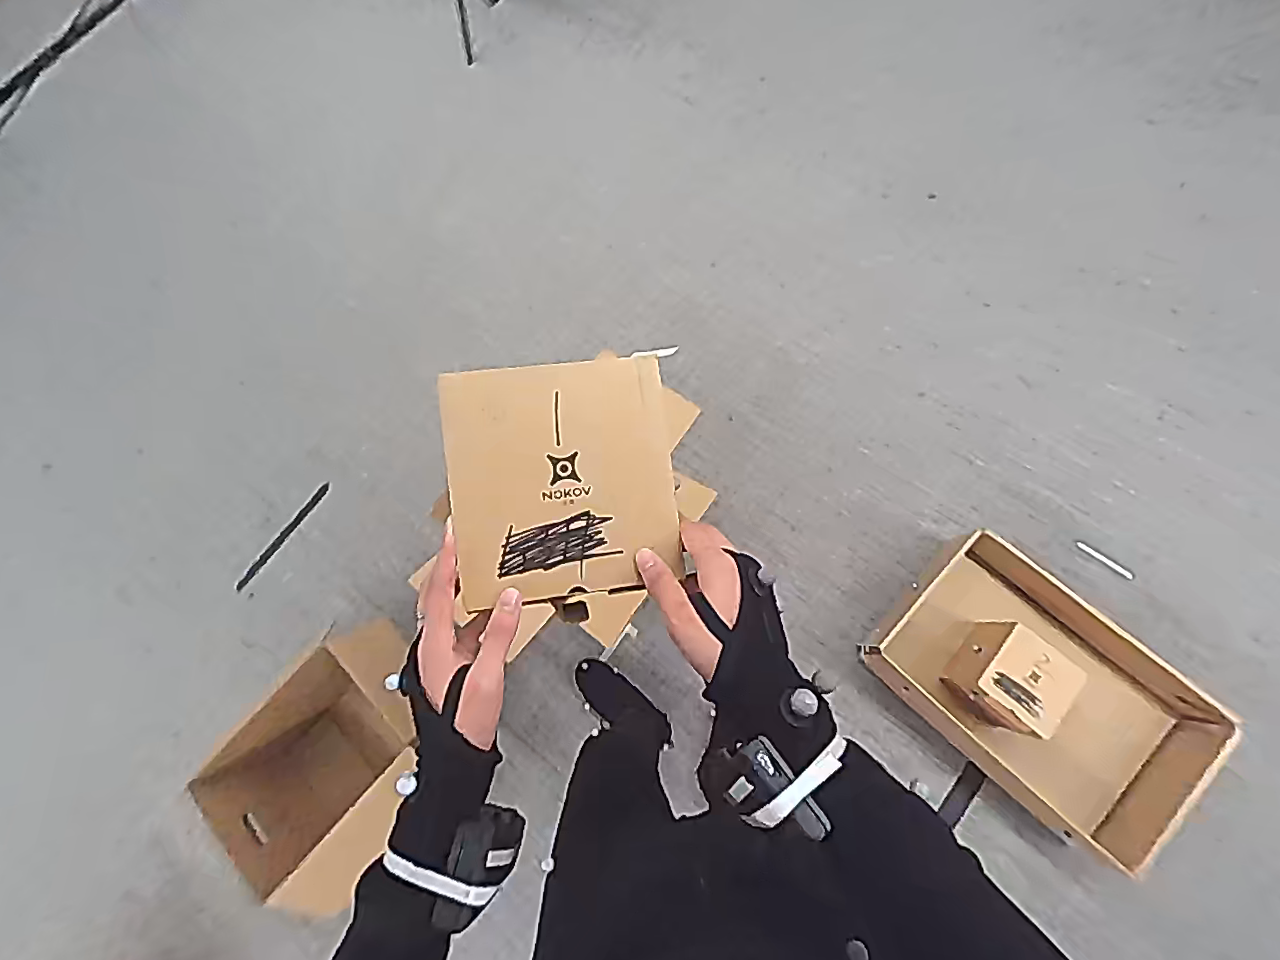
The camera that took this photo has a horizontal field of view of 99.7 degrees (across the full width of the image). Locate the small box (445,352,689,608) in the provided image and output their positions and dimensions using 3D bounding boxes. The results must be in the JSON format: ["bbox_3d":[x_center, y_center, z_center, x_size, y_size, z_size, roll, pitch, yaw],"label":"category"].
[{"bbox_3d":[-0.060,0.000,0.475,0.168,0.176,0.179,-7,88,-7],"label":"small box"}]
